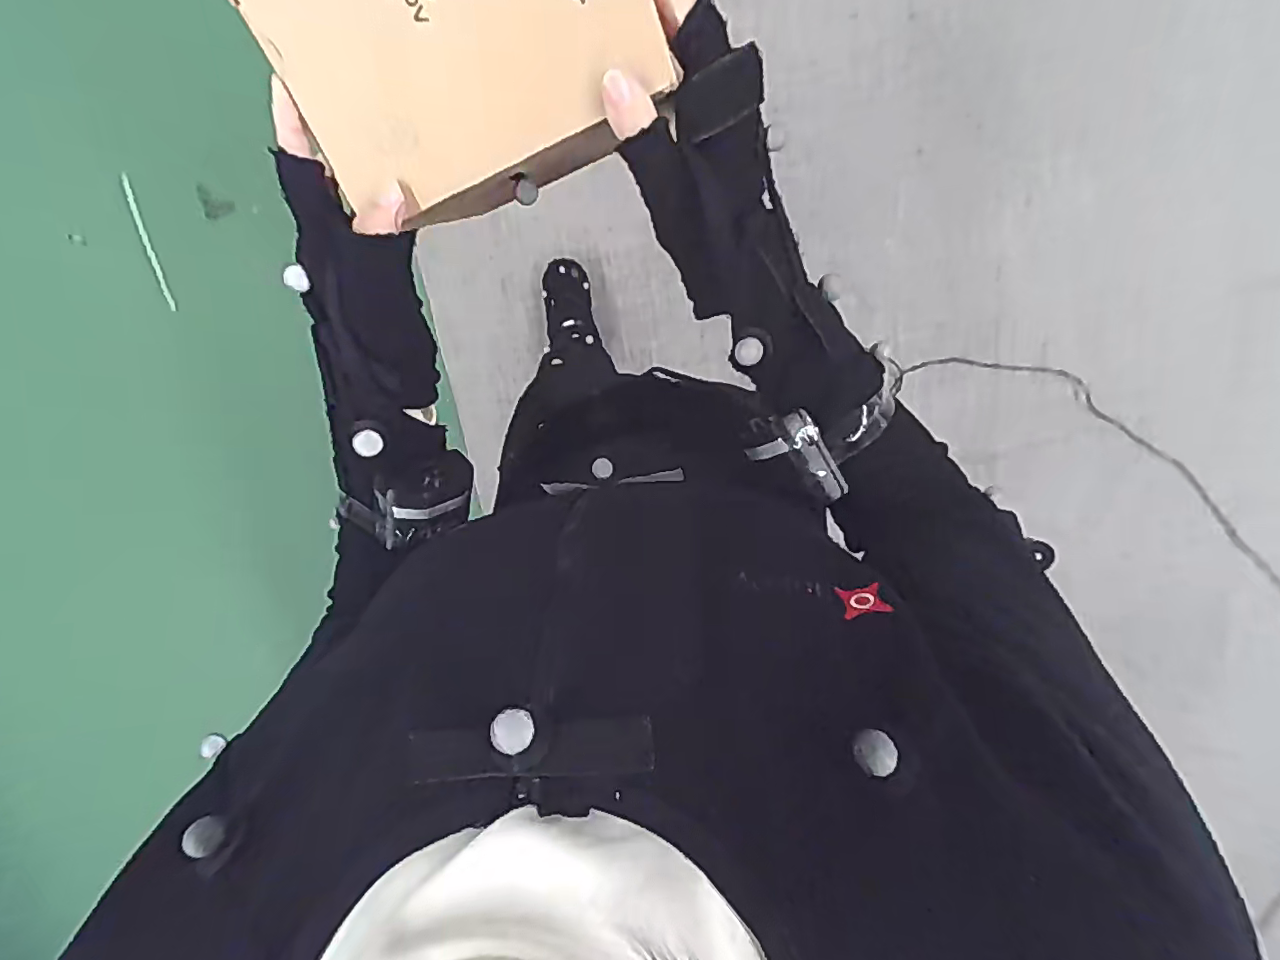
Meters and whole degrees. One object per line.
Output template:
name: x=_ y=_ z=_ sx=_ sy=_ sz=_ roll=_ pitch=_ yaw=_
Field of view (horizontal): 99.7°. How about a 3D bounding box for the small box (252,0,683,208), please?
small box: x=-0.086 y=-0.270 z=0.303 sx=0.179 sy=0.176 sz=0.168 roll=-20 pitch=112 yaw=16
